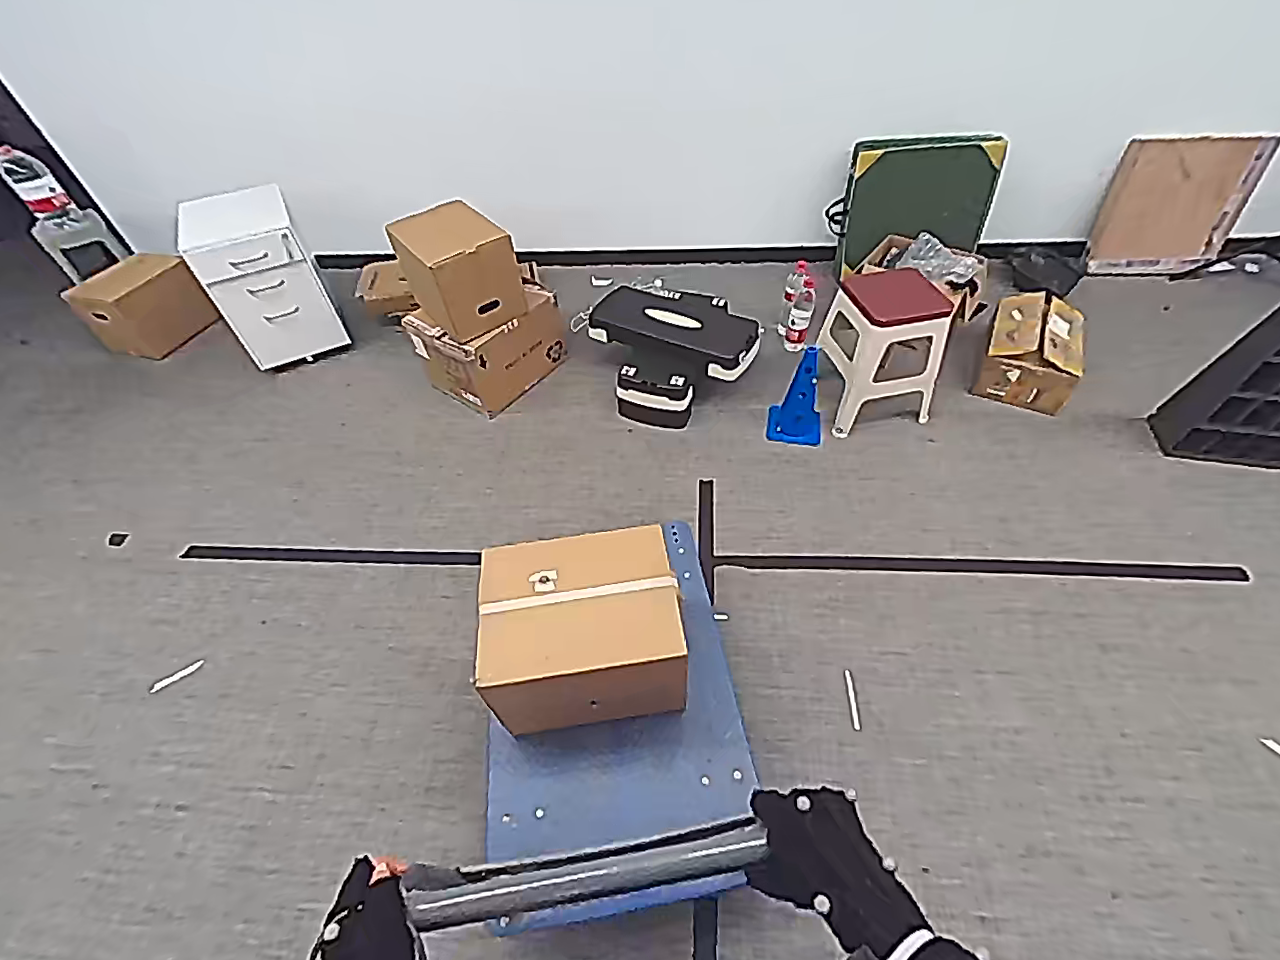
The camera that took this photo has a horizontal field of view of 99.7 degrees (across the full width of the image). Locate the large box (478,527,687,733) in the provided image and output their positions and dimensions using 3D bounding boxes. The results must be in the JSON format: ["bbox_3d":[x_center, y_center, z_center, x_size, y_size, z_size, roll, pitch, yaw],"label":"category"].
[{"bbox_3d":[-0.119,0.344,1.228,0.408,0.320,0.320,-8,49,-3],"label":"large box"}]
